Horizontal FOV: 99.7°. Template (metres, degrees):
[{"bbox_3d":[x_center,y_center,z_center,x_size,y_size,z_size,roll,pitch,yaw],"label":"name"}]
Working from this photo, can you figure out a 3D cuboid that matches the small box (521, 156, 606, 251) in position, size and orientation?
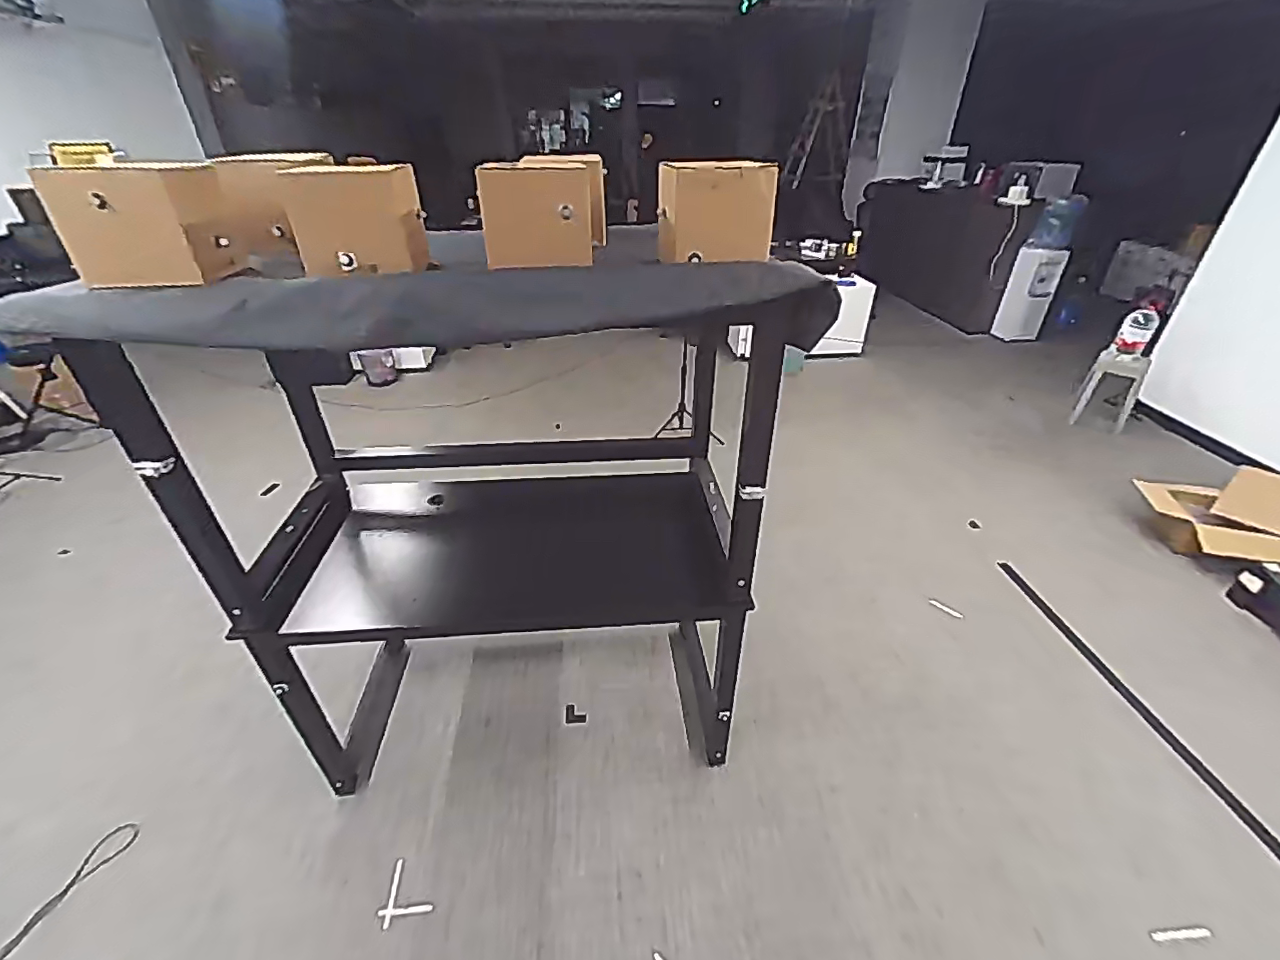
[{"bbox_3d":[-0.162,-0.607,1.190,0.168,0.176,0.179,-4,34,-5],"label":"small box"}]

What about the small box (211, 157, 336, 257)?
[{"bbox_3d":[-0.736,-0.574,1.138,0.179,0.176,0.168,-3,34,-6],"label":"small box"}]

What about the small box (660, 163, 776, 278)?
[{"bbox_3d":[0.129,-0.458,0.957,0.168,0.176,0.179,-5,32,-6],"label":"small box"}]

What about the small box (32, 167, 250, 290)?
[{"bbox_3d":[-0.796,-0.415,0.890,0.179,0.176,0.168,-4,33,-8],"label":"small box"}]

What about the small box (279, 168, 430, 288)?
[{"bbox_3d":[-0.466,-0.430,0.917,0.168,0.176,0.179,-6,32,-7],"label":"small box"}]
